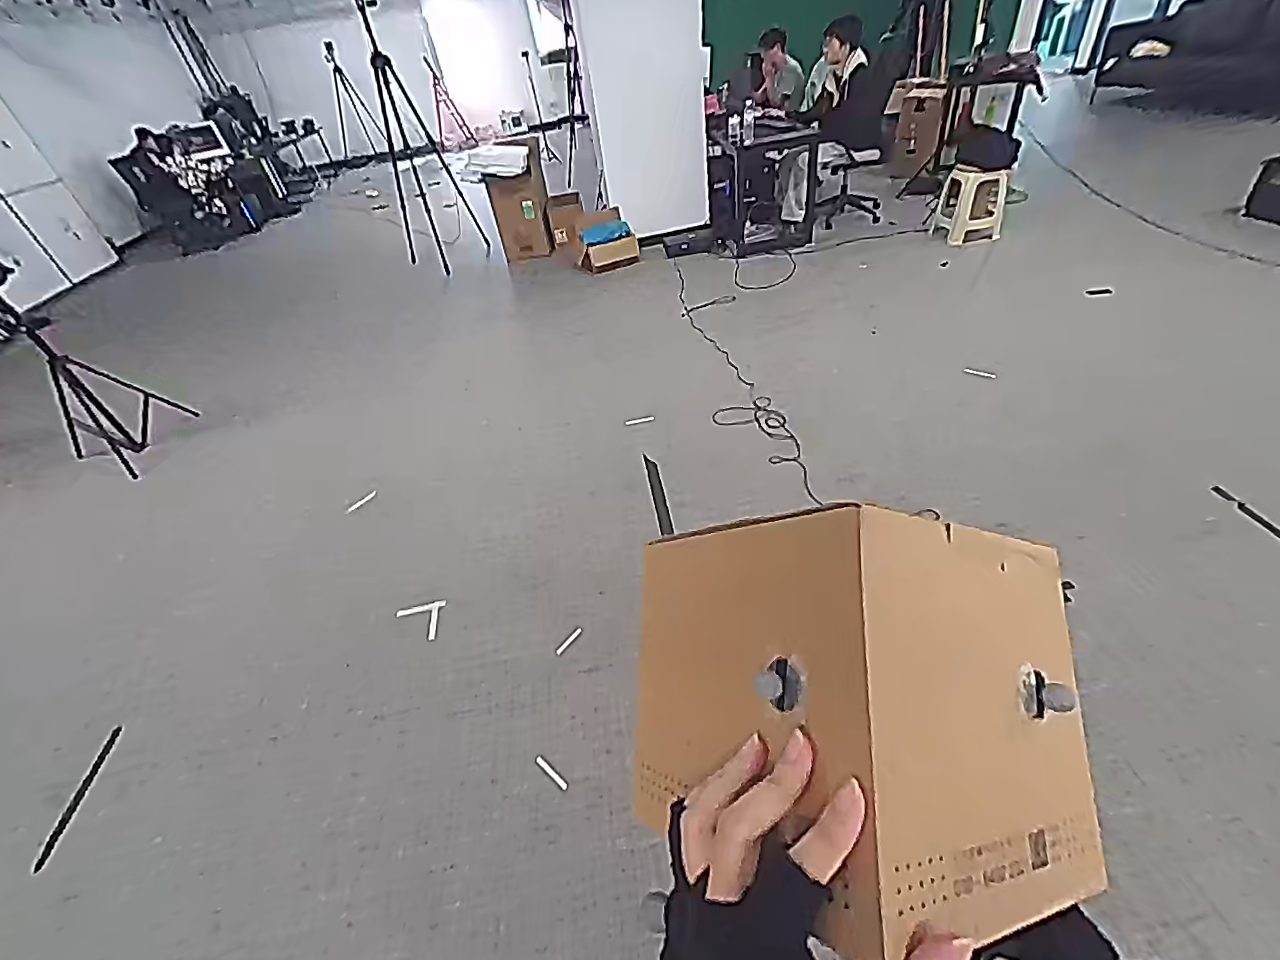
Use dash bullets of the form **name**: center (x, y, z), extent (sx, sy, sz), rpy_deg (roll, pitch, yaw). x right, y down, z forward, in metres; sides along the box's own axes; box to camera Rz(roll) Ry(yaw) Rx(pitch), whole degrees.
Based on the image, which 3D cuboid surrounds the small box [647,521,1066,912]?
- **small box**: center (0.116, 0.127, 0.328), extent (0.168, 0.179, 0.176), rpy_deg (11, 73, -28)
